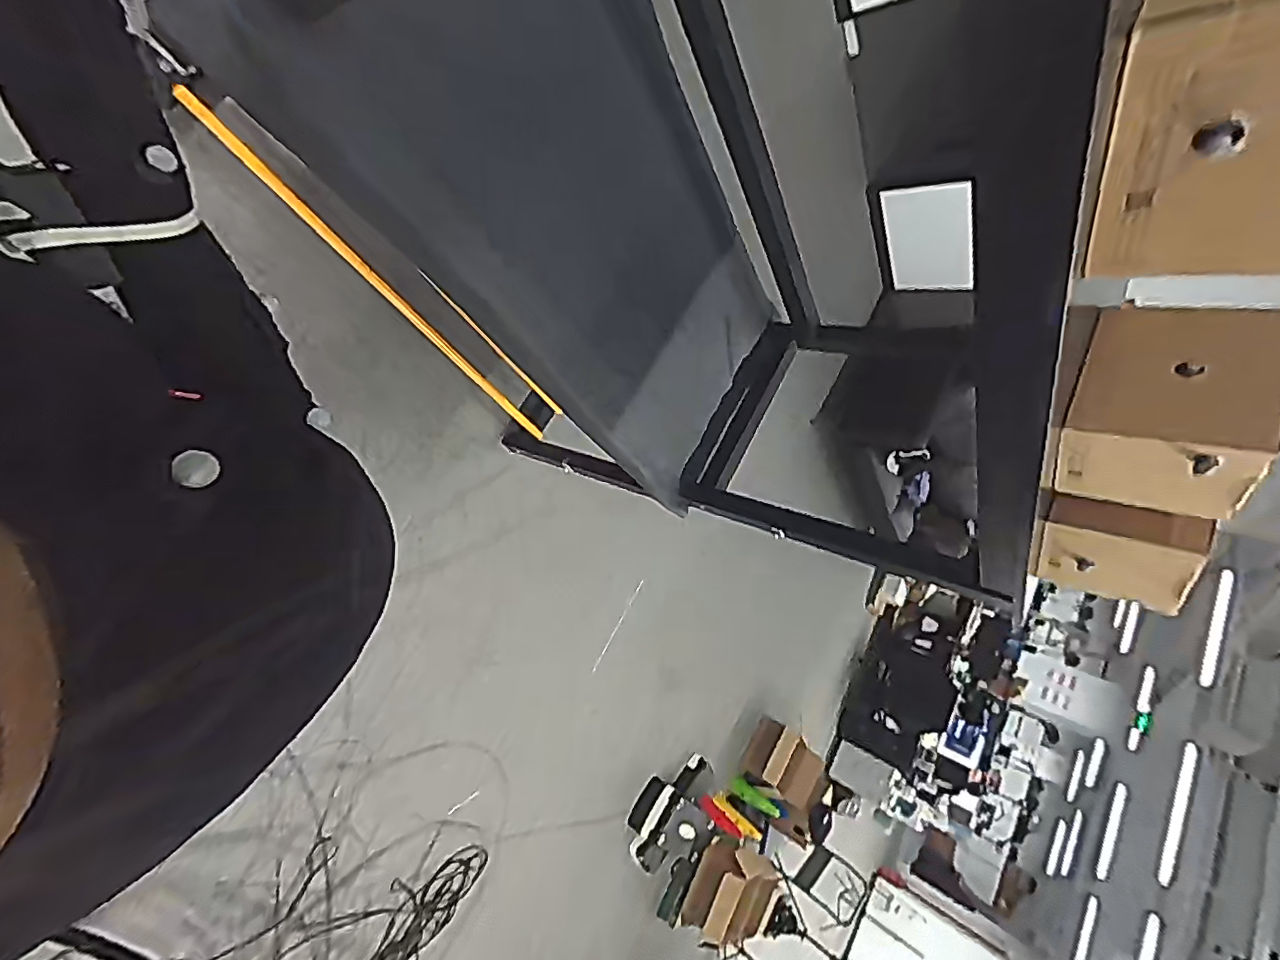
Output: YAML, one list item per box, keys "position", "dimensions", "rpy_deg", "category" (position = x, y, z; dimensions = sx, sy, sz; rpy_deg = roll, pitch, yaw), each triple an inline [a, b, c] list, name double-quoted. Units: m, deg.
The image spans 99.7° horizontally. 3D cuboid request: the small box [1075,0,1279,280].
- position: [0.421, -0.254, 0.355]
  dimensions: [0.179, 0.176, 0.168]
  rpy_deg: [-53, 138, -22]
  category: "small box"
